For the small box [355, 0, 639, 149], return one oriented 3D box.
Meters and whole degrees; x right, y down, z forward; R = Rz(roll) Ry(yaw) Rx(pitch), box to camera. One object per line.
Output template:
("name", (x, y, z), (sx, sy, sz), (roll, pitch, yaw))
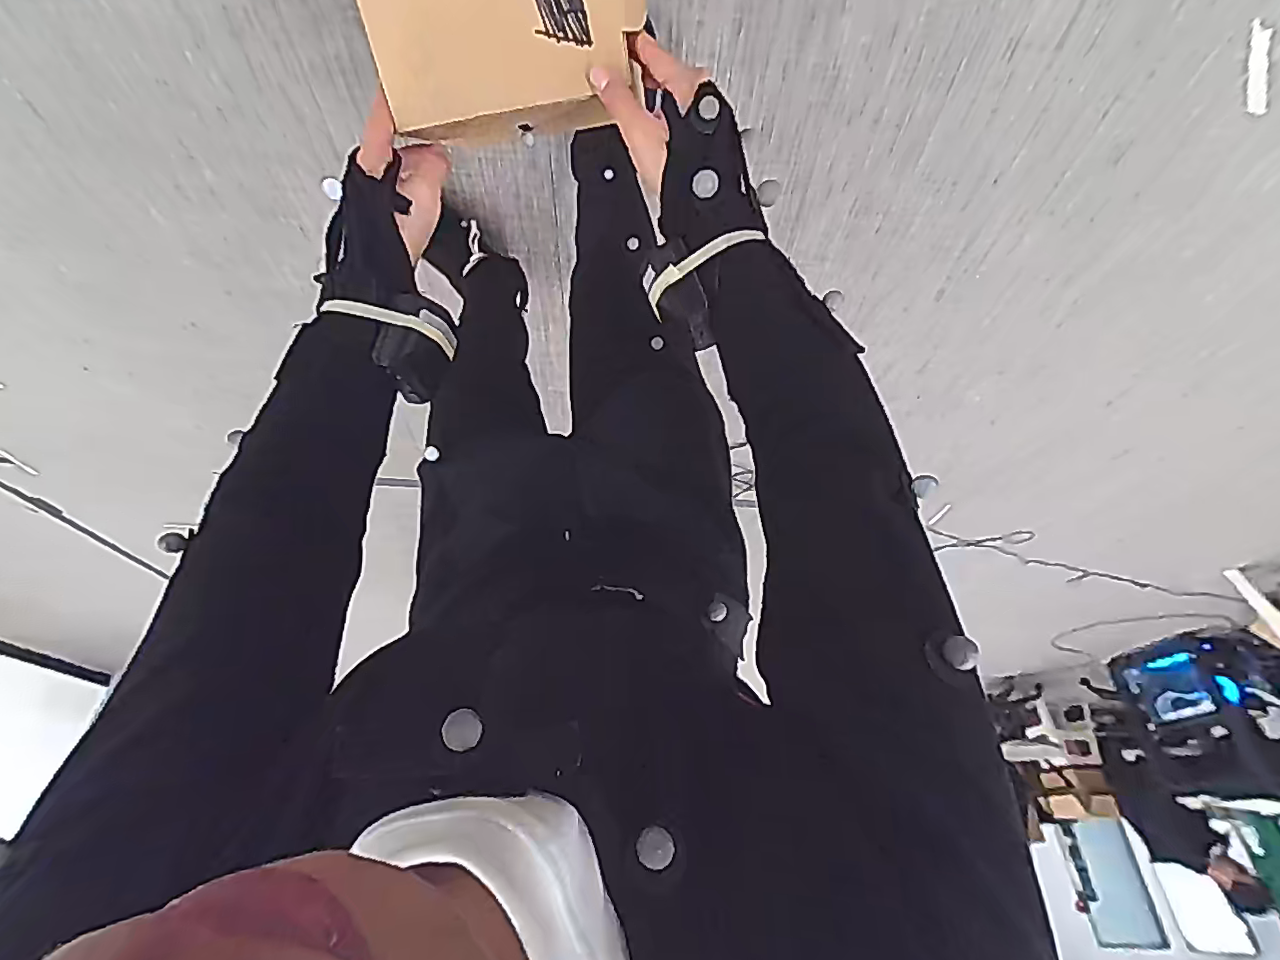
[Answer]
("small box", (-0.097, -0.364, 0.412), (0.179, 0.176, 0.168), (-5, 117, 8))
